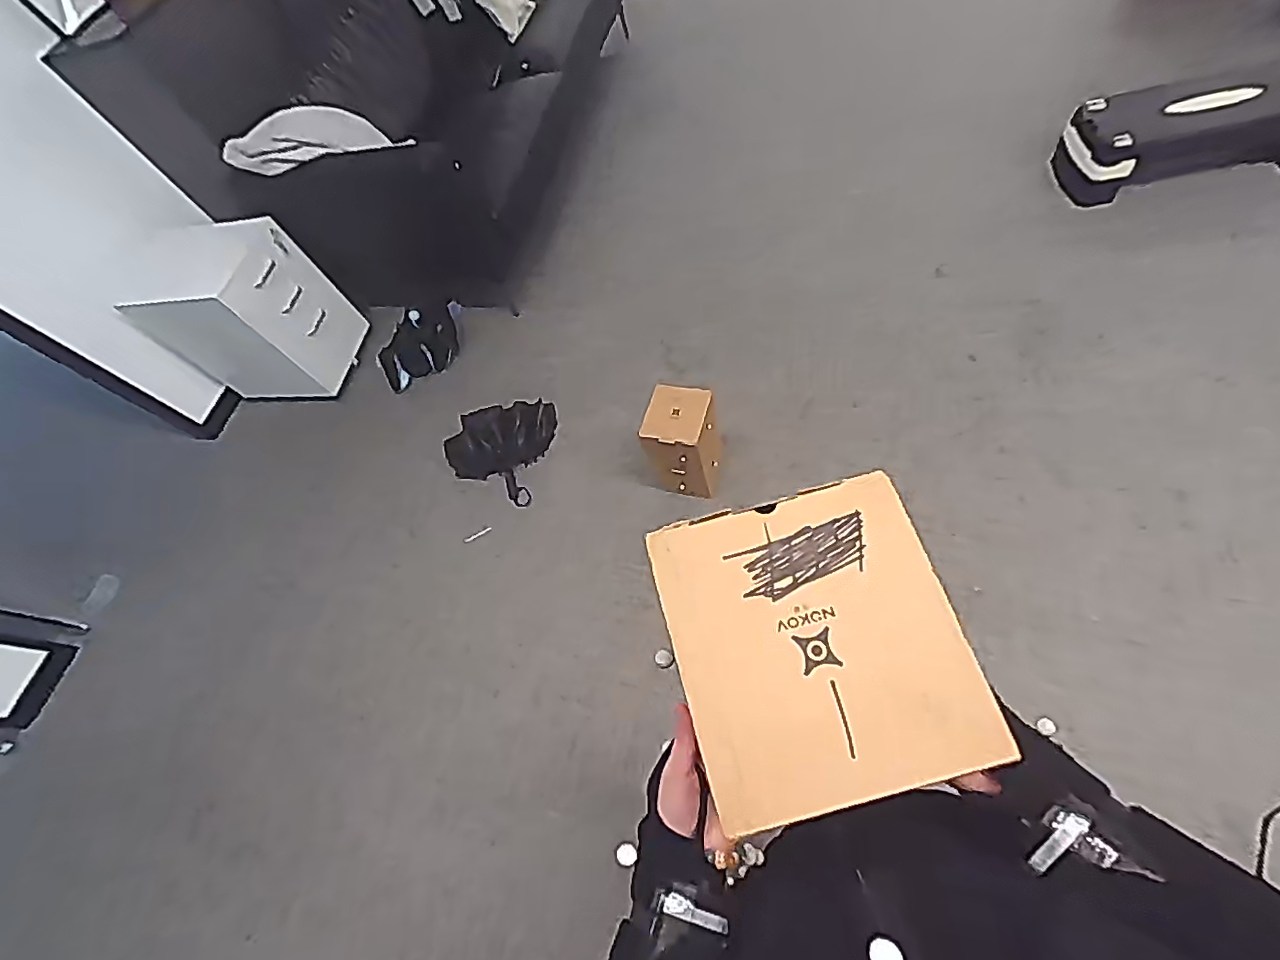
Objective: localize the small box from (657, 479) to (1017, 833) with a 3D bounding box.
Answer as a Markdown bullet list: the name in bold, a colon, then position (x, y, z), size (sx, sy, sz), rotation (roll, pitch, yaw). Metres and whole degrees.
- **small box**: position (0.113, 0.124, 0.397), size (0.168, 0.176, 0.179), rotation (-15, 68, -1)
